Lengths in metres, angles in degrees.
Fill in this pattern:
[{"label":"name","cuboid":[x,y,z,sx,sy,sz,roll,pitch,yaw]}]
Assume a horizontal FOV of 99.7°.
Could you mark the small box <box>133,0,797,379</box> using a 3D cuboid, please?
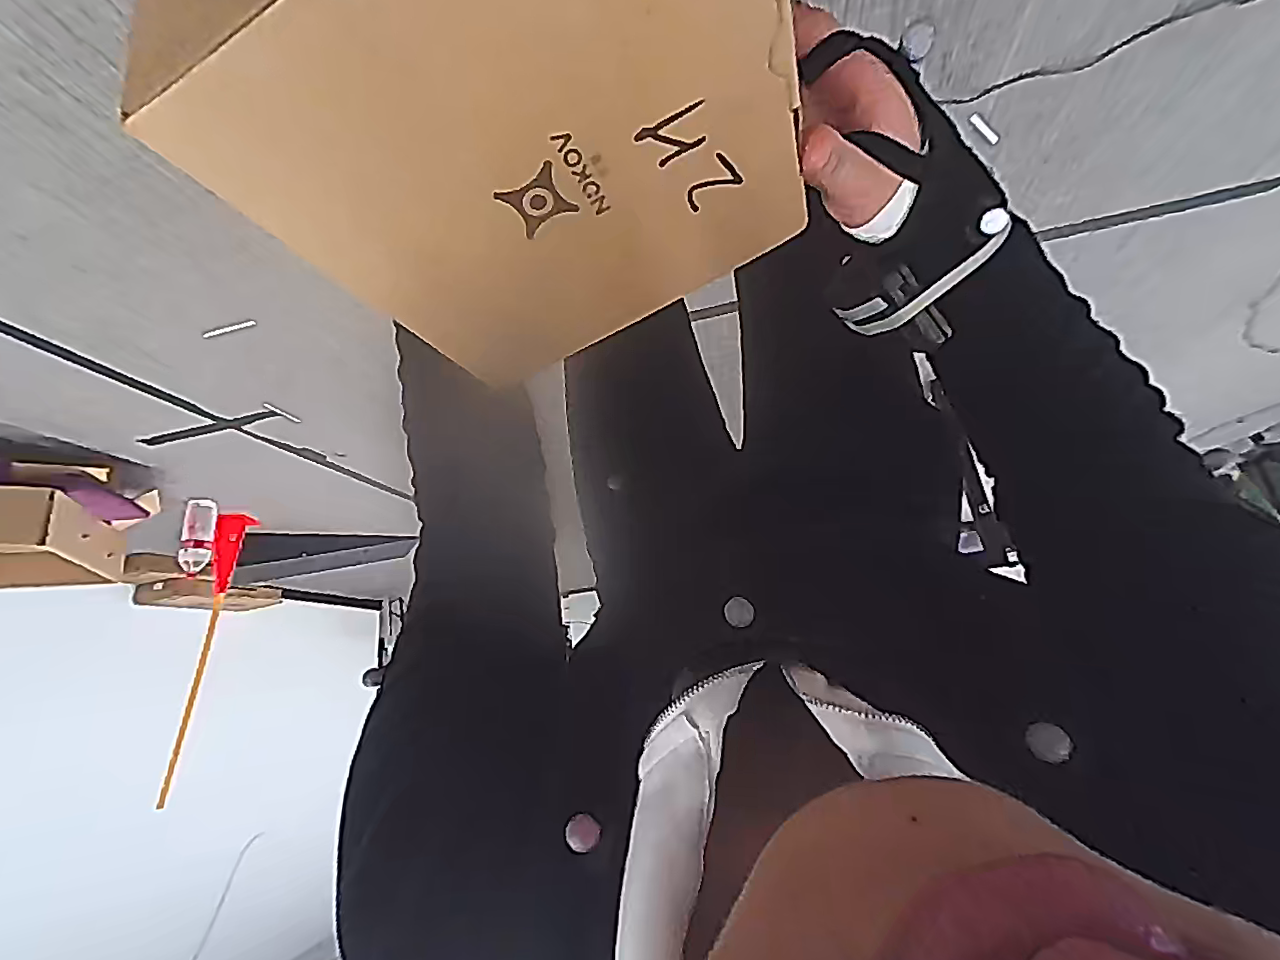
[{"label":"small box","cuboid":[-0.054,-0.179,0.228,0.179,0.176,0.168,-24,157,13]}]
